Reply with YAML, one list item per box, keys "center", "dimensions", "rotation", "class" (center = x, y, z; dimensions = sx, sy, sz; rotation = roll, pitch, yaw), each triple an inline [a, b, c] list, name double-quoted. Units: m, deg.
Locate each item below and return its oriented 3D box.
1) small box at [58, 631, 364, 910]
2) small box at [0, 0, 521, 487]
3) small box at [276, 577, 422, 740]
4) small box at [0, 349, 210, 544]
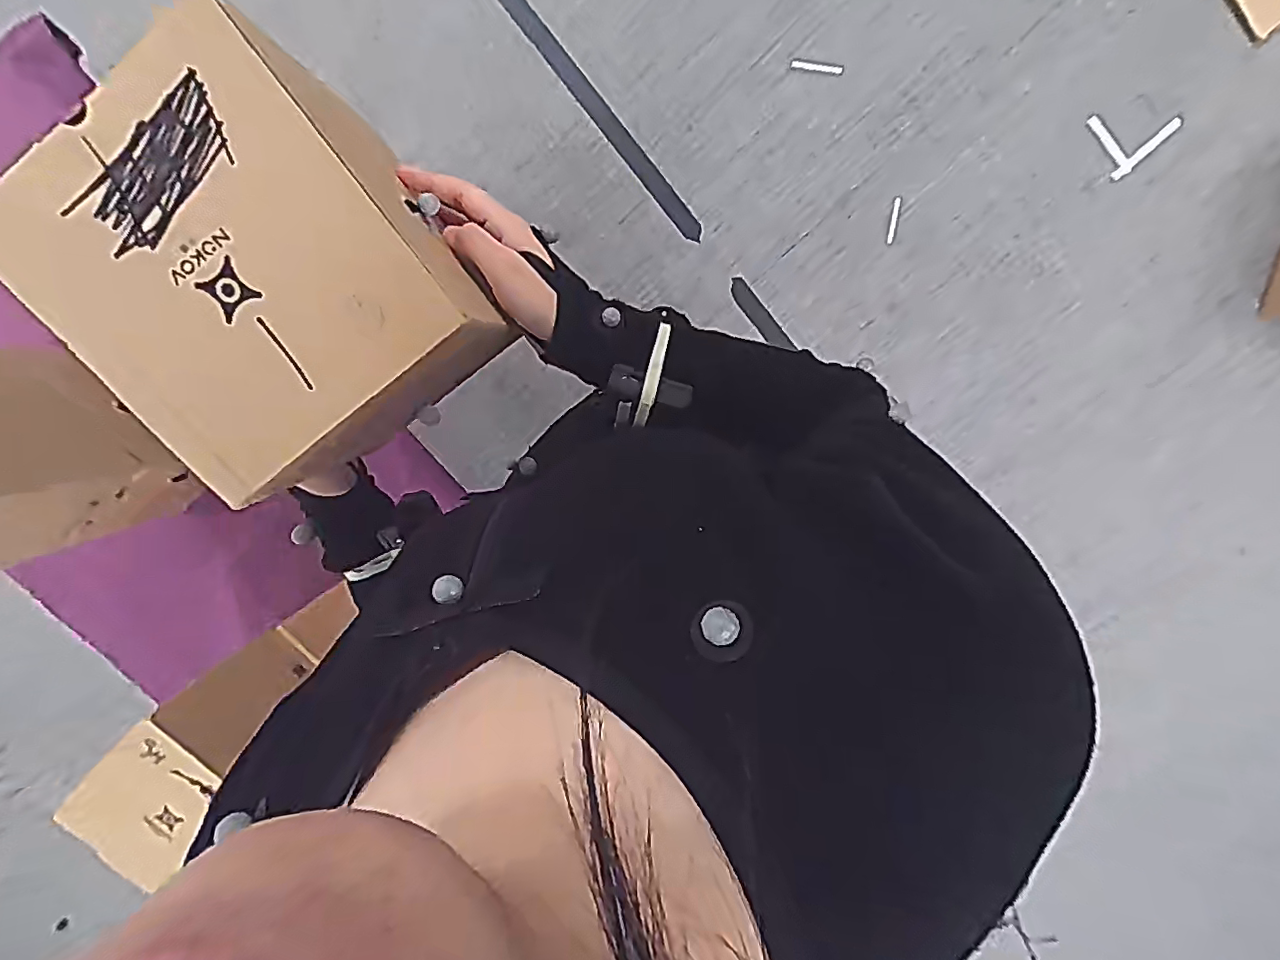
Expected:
- center: [-0.454, 0.308, 0.603]
  dimensions: [0.179, 0.176, 0.168]
  rotation: [-43, 97, 12]
  class: "small box"
- center: [-0.200, -0.125, 0.333]
  dimensions: [0.168, 0.176, 0.179]
  rotation: [-35, 102, 8]
  class: "small box"
- center: [-0.438, 0.269, 0.761]
  dimensions: [0.179, 0.176, 0.168]
  rotation: [-41, 97, 11]
  class: "small box"
- center: [-0.677, -0.052, 0.704]
  dimensions: [0.168, 0.176, 0.179]
  rotation: [-38, 97, 10]
  class: "small box"
